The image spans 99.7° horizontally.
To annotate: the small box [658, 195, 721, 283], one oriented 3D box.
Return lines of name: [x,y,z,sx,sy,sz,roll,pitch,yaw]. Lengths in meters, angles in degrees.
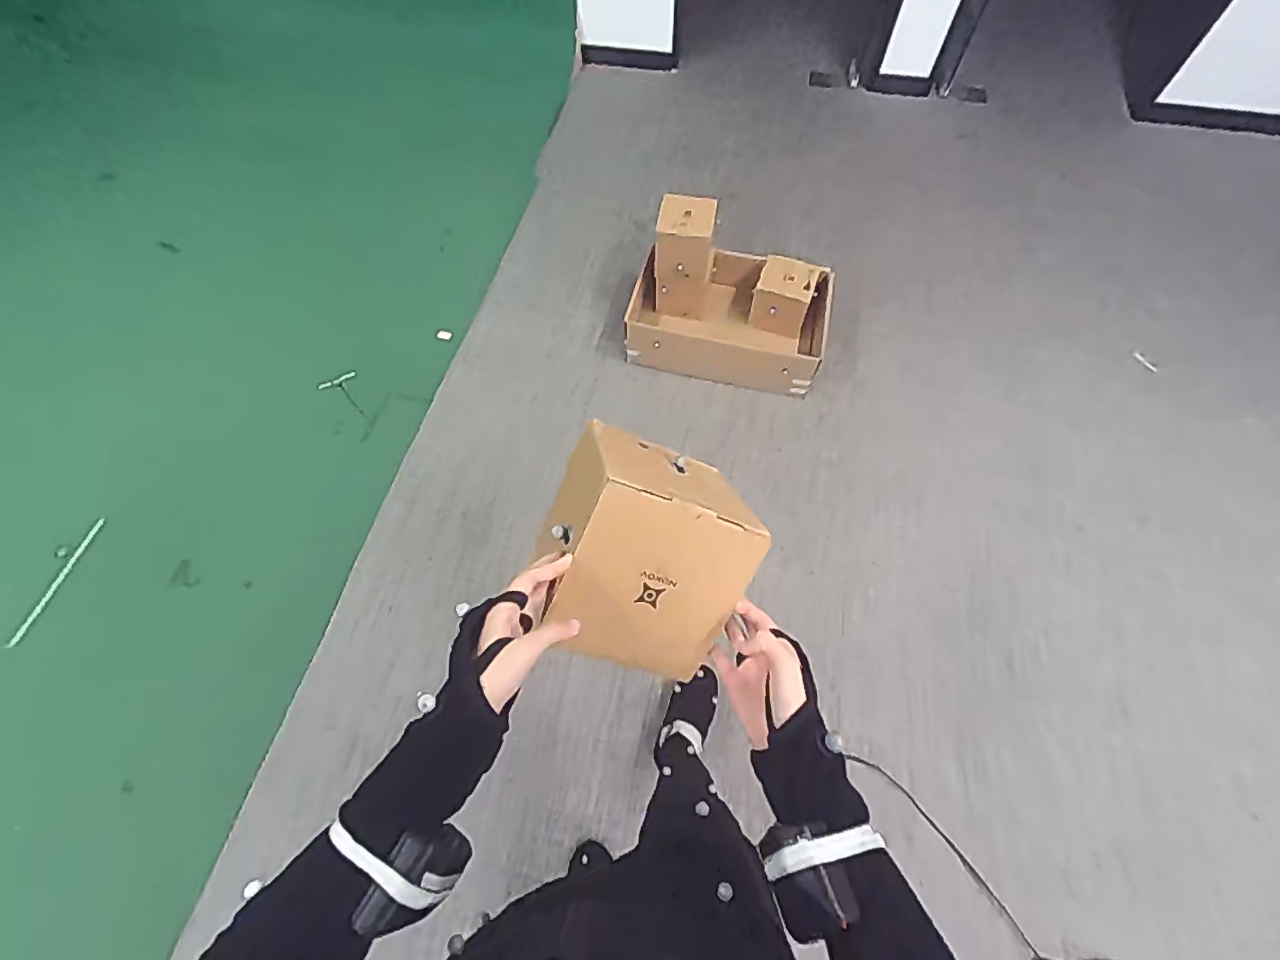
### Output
small box: [0.149,-0.743,1.670,0.168,0.176,0.179,9,64,7]

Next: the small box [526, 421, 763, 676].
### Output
small box: [-0.006,0.063,0.561,0.168,0.176,0.179,21,106,-17]
